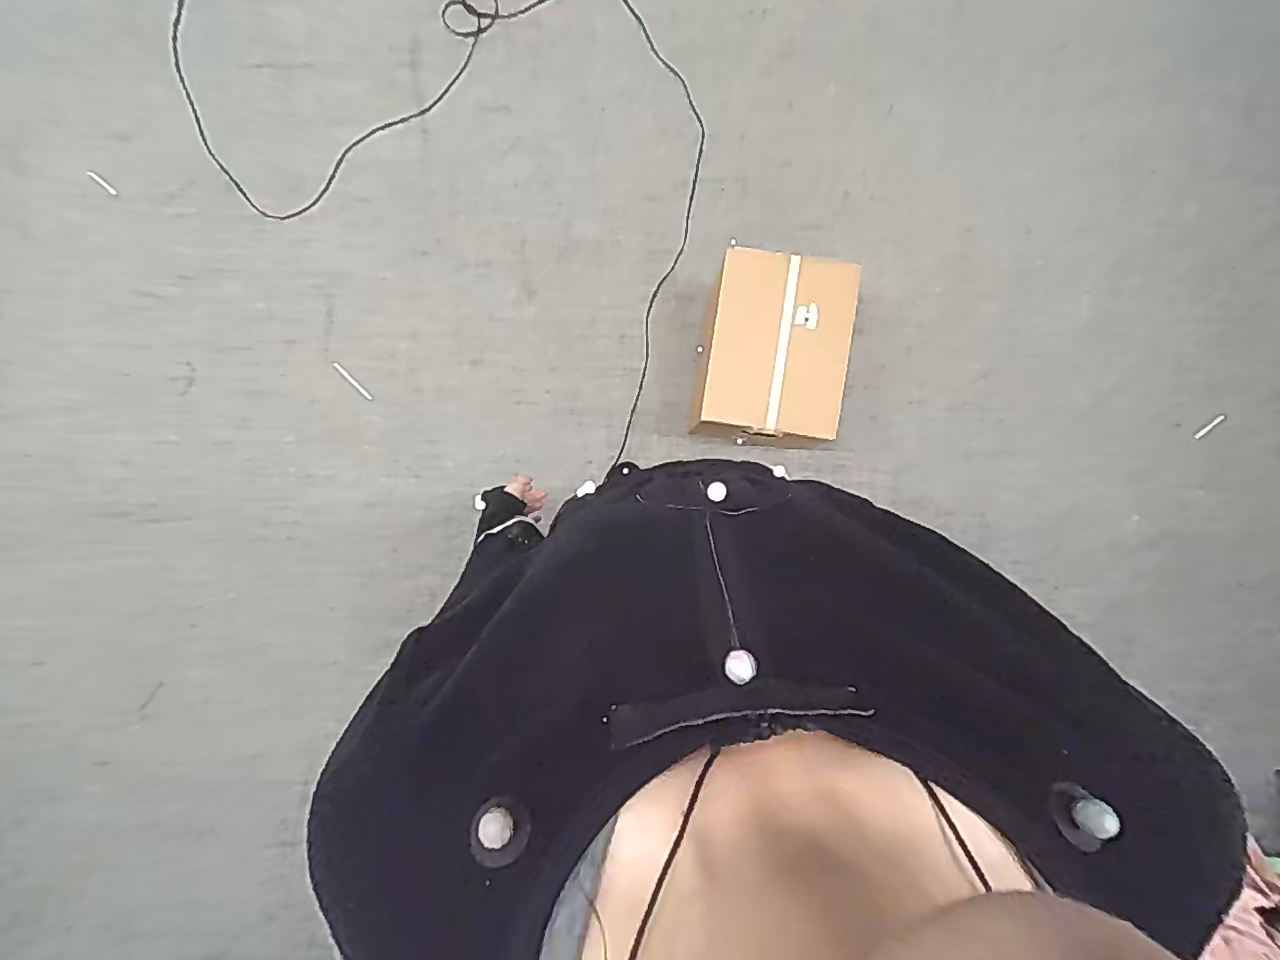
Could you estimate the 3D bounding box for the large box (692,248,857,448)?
[{"bbox_3d":[0.318,-0.307,1.372,0.320,0.320,0.408,9,89,0],"label":"large box"}]
